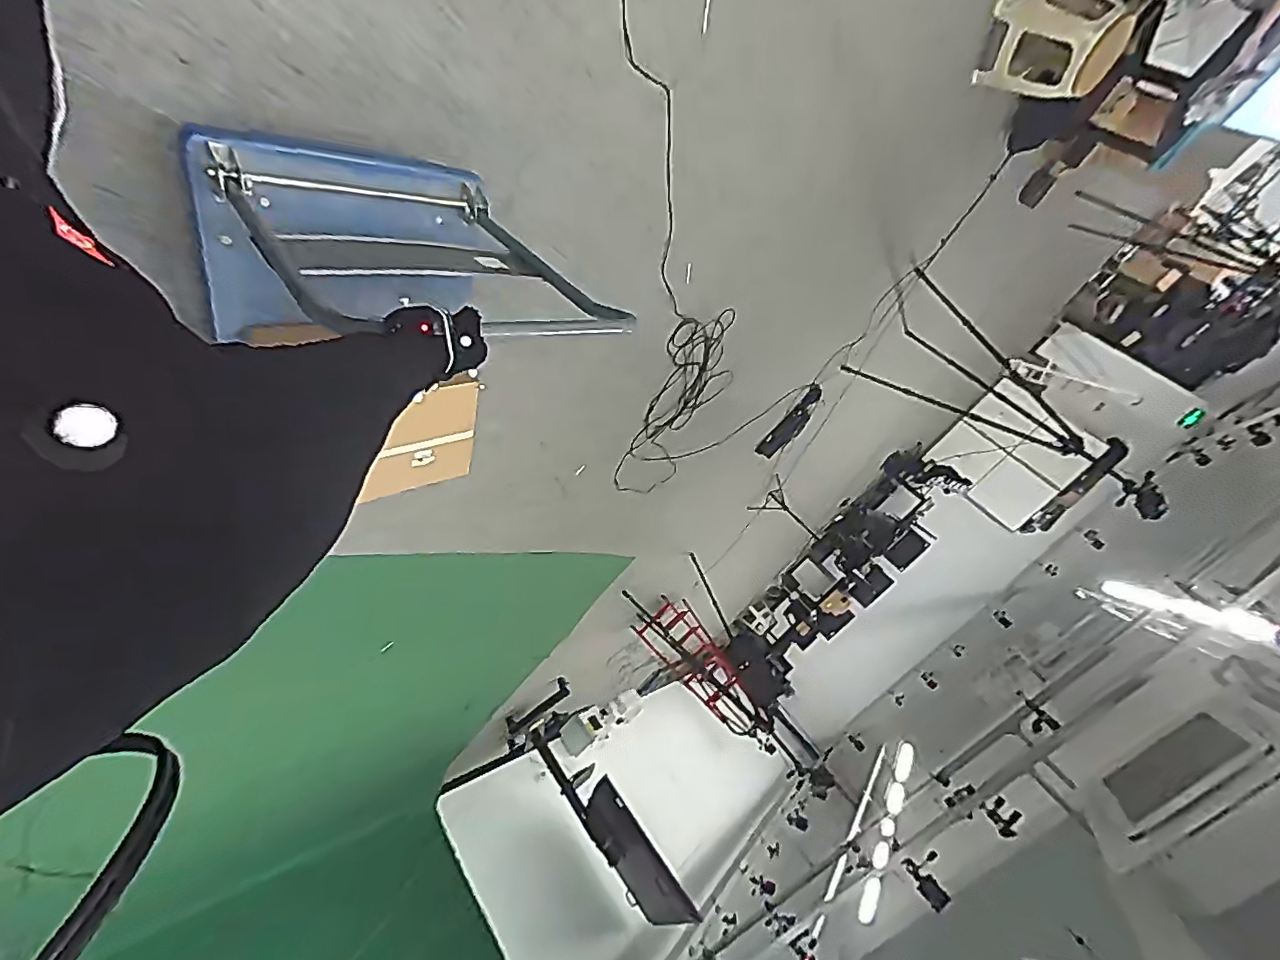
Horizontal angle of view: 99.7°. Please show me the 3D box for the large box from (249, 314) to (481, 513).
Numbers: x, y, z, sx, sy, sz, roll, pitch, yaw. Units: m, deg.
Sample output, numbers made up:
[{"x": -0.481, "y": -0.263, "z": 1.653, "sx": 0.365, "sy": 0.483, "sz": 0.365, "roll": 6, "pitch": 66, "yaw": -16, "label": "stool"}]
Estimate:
[{"x": -0.661, "y": -0.183, "z": 1.337, "sx": 0.408, "sy": 0.320, "sz": 0.320, "roll": -22, "pitch": 148, "yaw": -38, "label": "large box"}]
